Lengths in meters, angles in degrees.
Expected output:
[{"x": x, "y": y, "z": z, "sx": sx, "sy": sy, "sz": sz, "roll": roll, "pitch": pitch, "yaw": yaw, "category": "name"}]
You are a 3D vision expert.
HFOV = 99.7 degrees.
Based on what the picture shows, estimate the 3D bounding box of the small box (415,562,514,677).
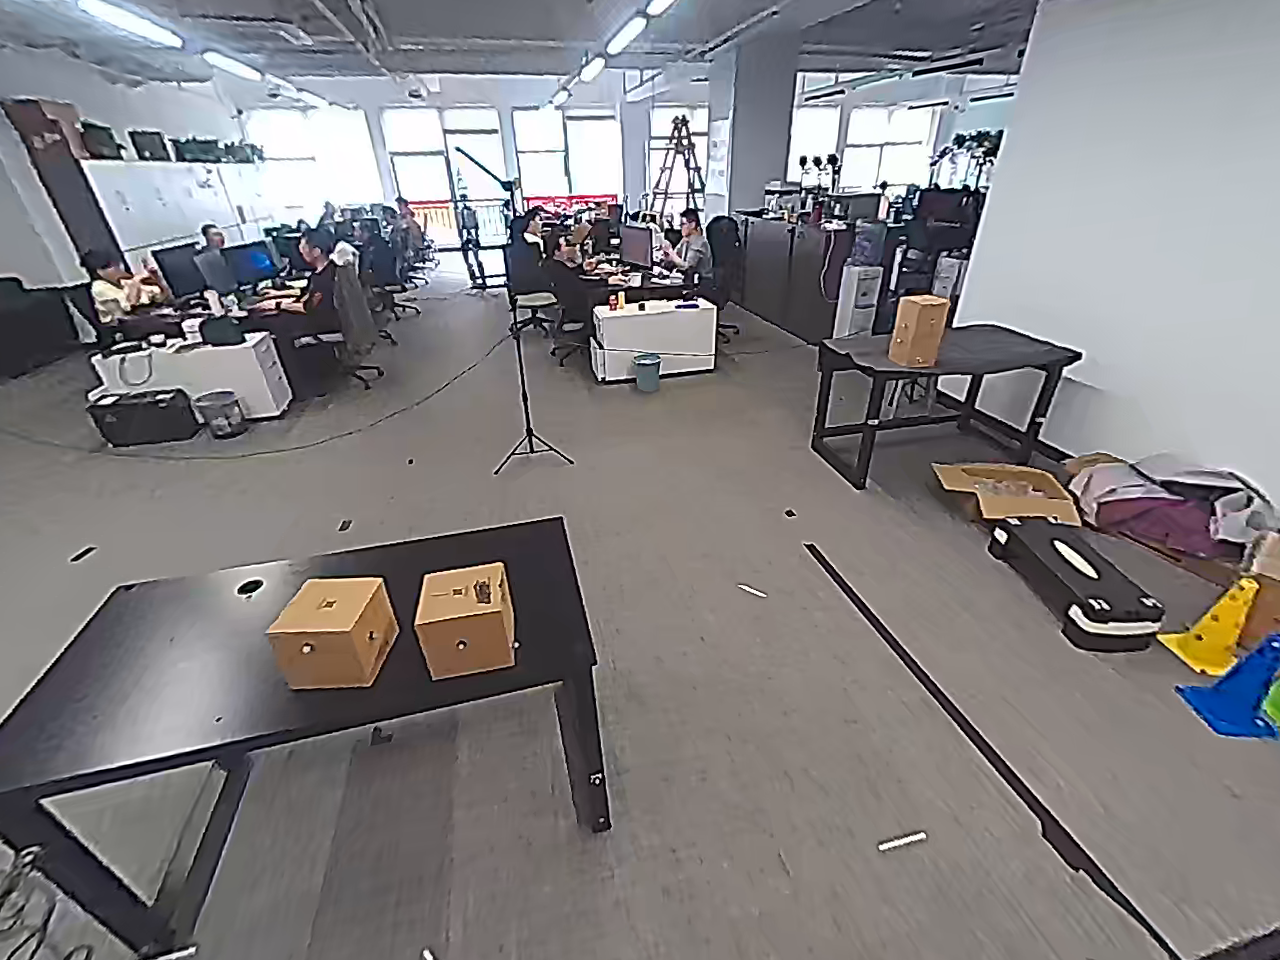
[{"x": -0.380, "y": 0.310, "z": 1.206, "sx": 0.179, "sy": 0.176, "sz": 0.168, "roll": -9, "pitch": 30, "yaw": -9, "category": "small box"}]

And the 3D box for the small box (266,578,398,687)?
[{"x": -0.659, "y": 0.334, "z": 1.186, "sx": 0.179, "sy": 0.176, "sz": 0.168, "roll": -2, "pitch": 29, "yaw": 1, "category": "small box"}]
